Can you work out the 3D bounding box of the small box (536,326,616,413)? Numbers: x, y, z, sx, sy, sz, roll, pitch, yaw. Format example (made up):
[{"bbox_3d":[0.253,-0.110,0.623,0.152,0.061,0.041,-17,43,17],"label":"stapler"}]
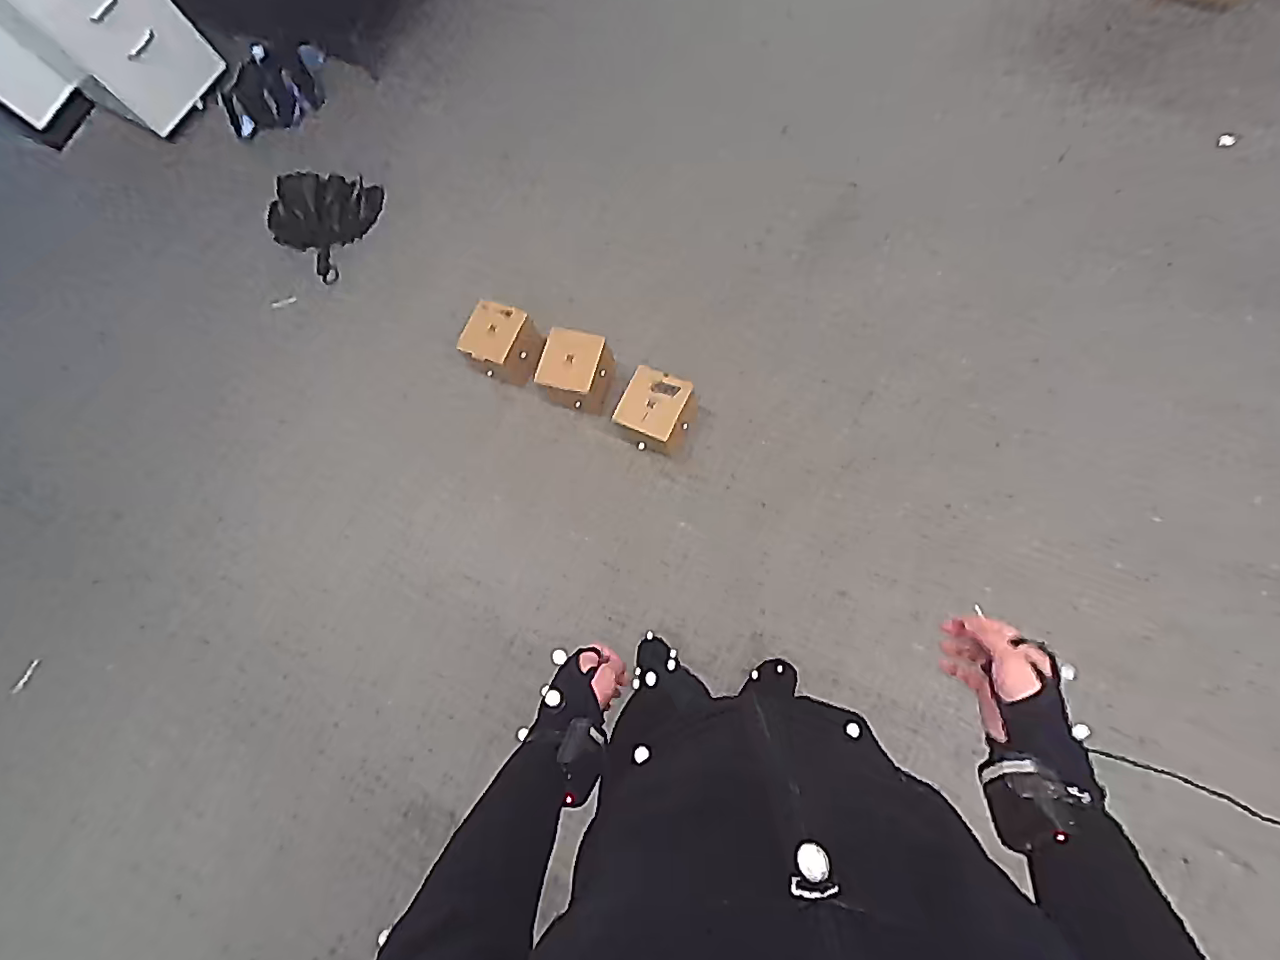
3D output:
[{"bbox_3d":[-0.177,-0.314,1.568,0.168,0.176,0.179,13,76,11],"label":"small box"}]

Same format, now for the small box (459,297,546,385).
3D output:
[{"bbox_3d":[-0.406,-0.413,1.631,0.168,0.176,0.179,21,80,14],"label":"small box"}]

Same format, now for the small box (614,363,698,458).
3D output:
[{"bbox_3d":[0.051,-0.186,1.491,0.168,0.176,0.179,24,81,15],"label":"small box"}]
